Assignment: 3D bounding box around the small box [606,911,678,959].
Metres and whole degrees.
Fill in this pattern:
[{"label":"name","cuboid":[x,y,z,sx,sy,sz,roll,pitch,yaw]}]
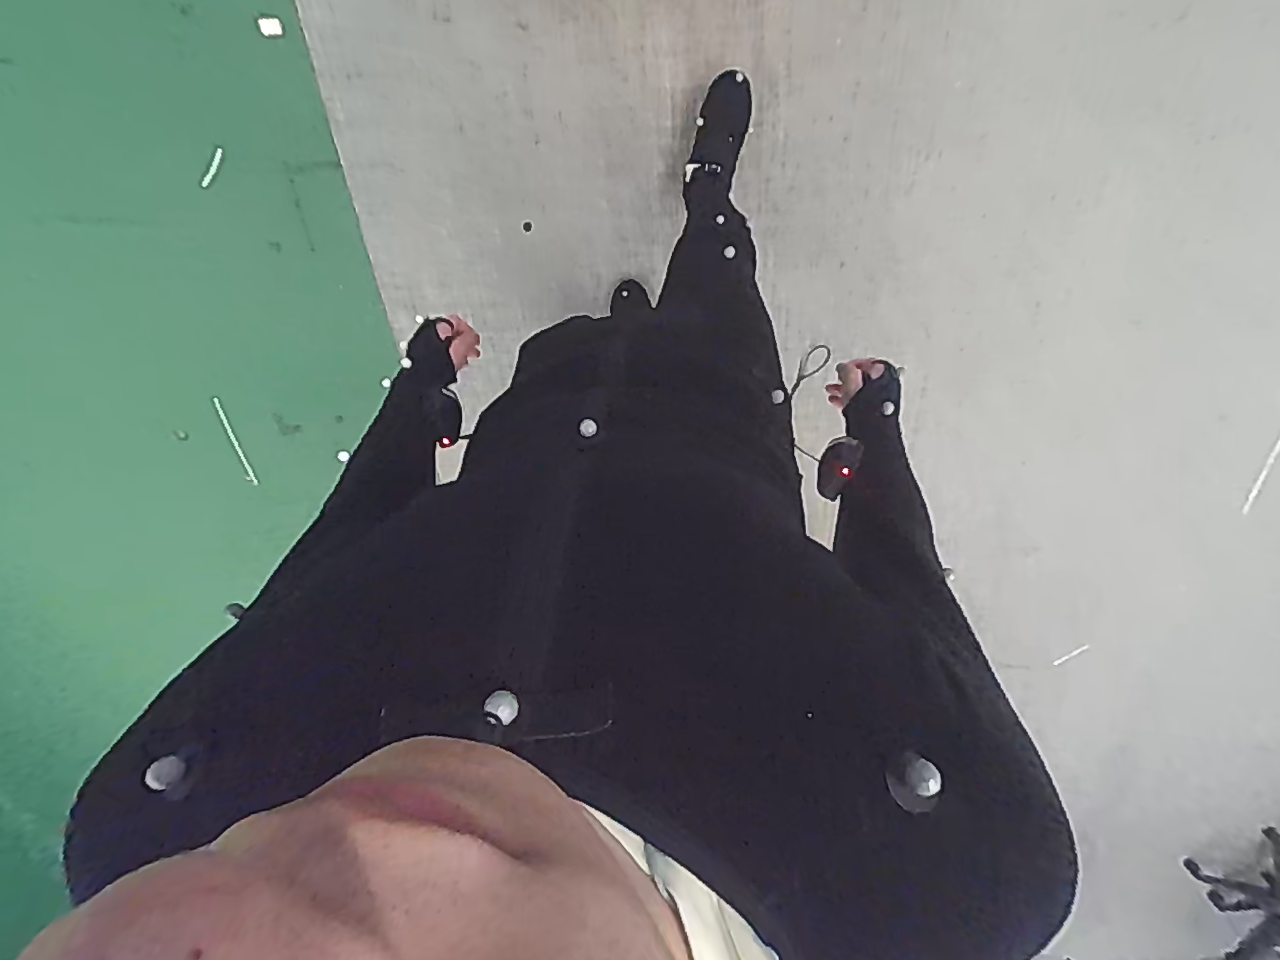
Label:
[{"label":"small box","cuboid":[0.005,1.155,1.278,0.168,0.176,0.179,-1,119,5]}]
